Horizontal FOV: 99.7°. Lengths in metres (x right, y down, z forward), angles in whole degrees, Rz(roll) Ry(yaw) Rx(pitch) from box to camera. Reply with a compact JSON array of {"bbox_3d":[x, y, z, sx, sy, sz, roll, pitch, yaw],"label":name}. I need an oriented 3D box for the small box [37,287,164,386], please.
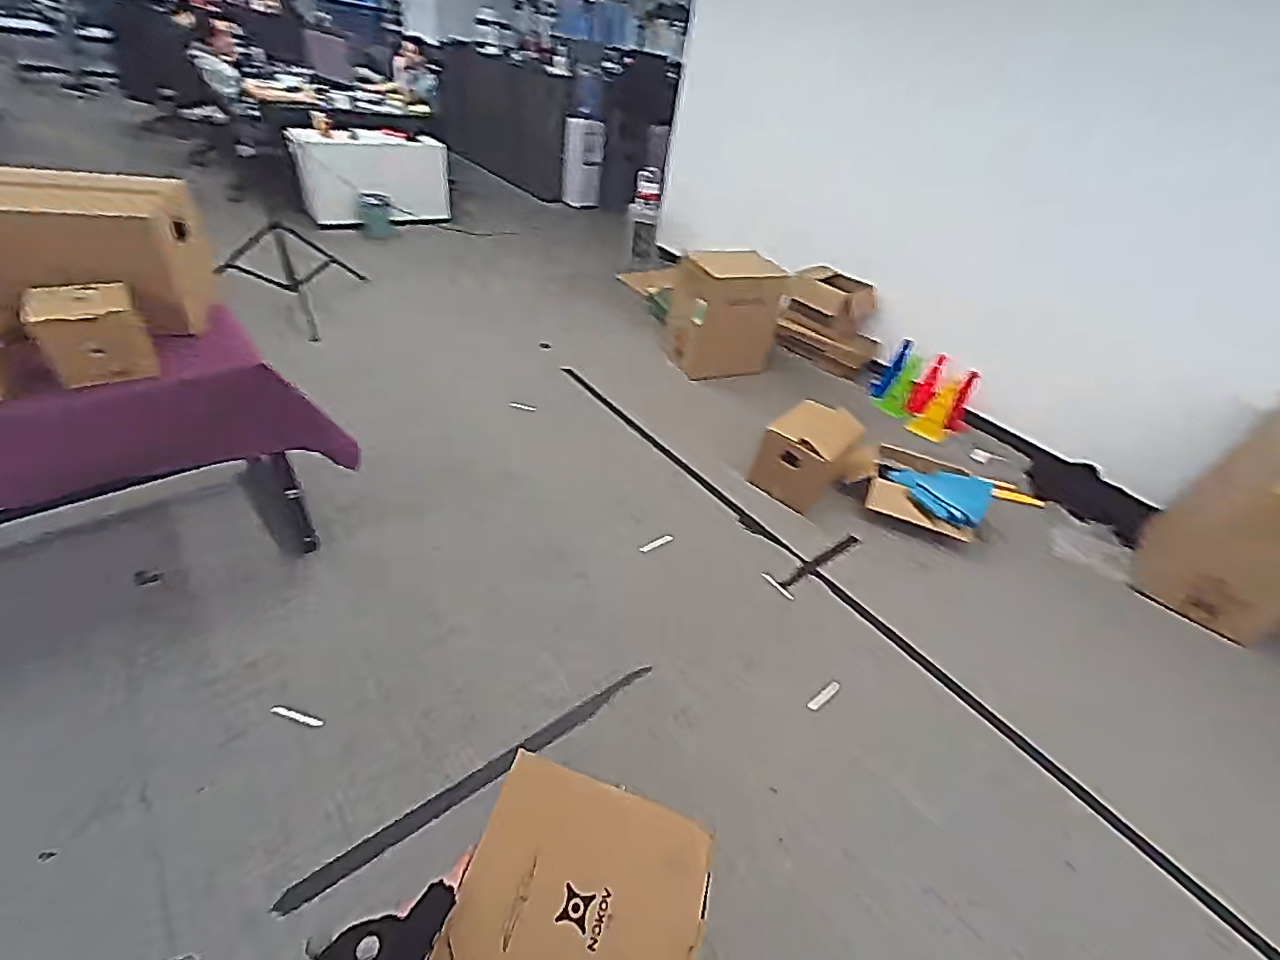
[{"bbox_3d":[-1.256,-0.333,1.268,0.168,0.176,0.179,-20,48,-33],"label":"small box"}]
